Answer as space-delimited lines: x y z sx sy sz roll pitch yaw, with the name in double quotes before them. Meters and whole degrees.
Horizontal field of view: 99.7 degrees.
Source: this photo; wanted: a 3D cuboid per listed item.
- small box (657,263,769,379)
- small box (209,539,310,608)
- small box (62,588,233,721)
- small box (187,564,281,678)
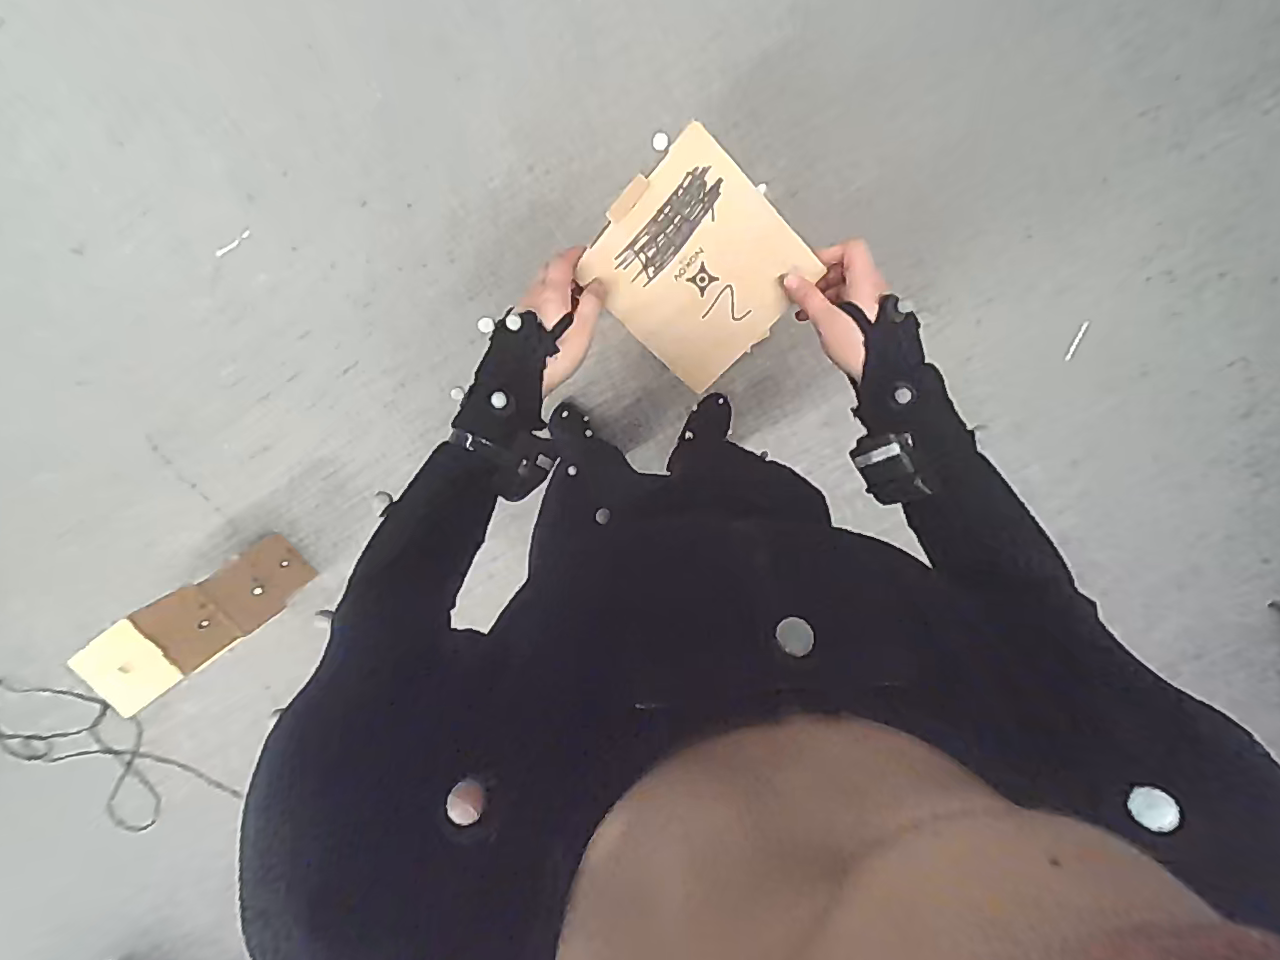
"small box" 0.146 -0.331 1.145 0.179 0.176 0.168 -29 100 8
"small box" -1.046 0.288 1.474 0.179 0.176 0.168 -38 99 9
"small box" -1.038 0.366 1.158 0.179 0.176 0.168 -35 100 8
"small box" -1.036 0.337 1.318 0.179 0.176 0.168 -34 101 7
